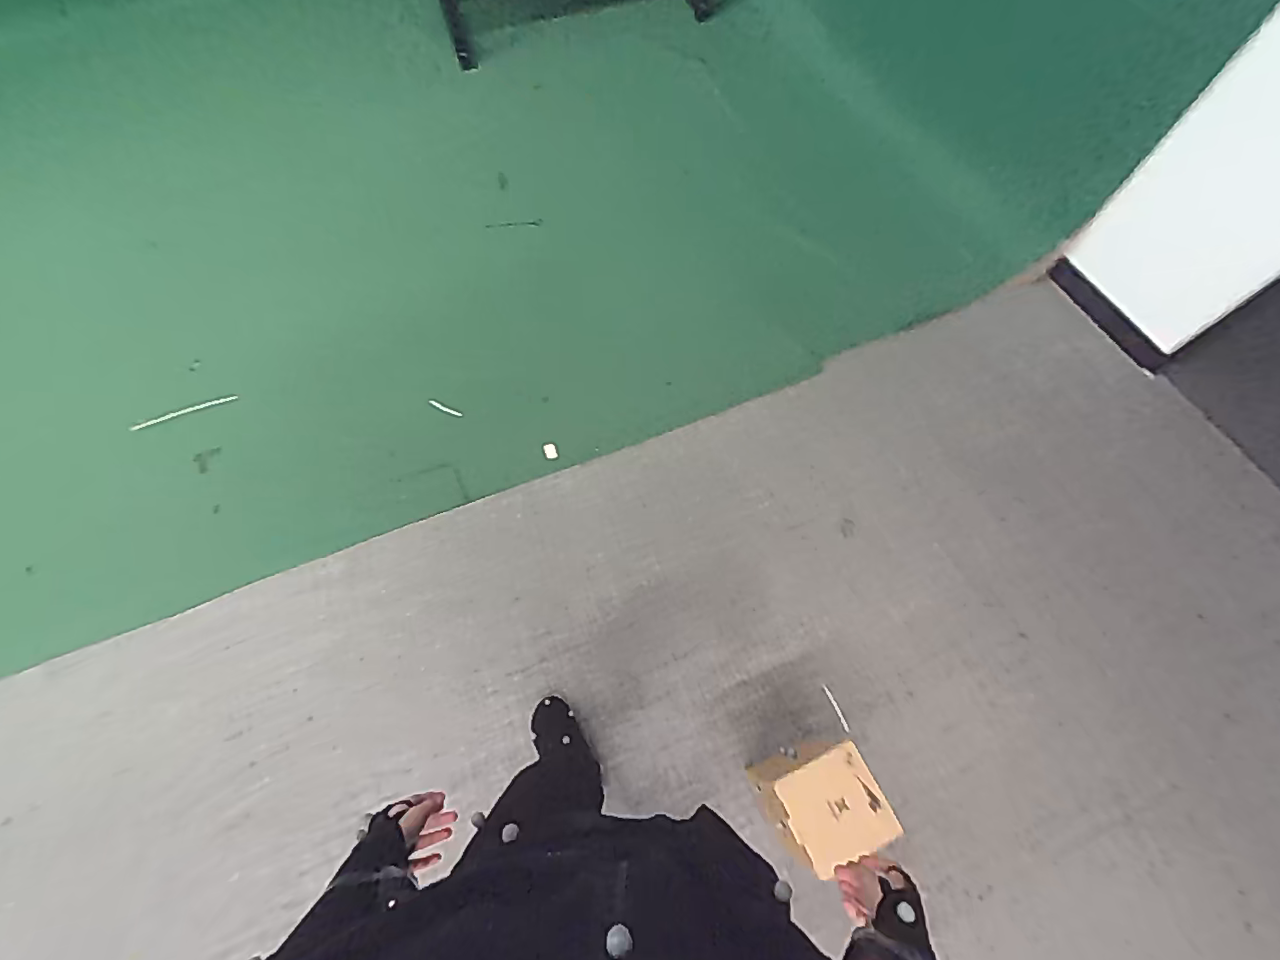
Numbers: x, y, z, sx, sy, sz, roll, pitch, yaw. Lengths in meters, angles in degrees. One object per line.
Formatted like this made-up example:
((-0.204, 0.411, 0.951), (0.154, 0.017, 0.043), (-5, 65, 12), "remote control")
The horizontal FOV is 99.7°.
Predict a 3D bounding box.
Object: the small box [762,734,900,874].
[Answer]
((0.349, 0.607, 1.035), (0.179, 0.176, 0.168), (-23, 68, -9), "small box")
